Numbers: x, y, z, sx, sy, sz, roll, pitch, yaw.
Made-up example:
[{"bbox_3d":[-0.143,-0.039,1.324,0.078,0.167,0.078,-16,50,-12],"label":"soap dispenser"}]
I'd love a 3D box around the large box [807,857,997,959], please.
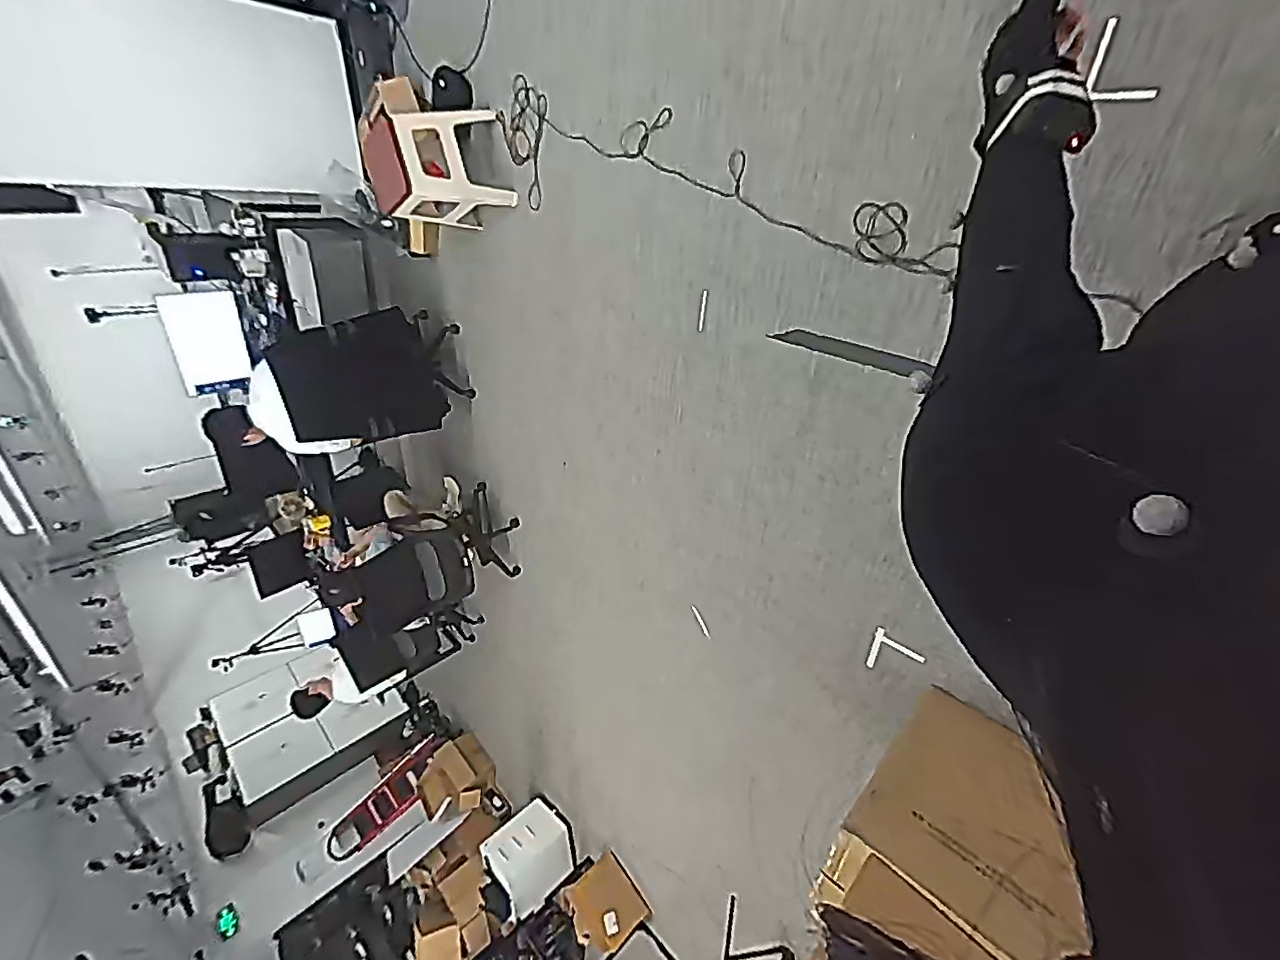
[{"bbox_3d":[0.562,1.117,1.112,0.408,0.320,0.320,31,128,37],"label":"large box"}]
